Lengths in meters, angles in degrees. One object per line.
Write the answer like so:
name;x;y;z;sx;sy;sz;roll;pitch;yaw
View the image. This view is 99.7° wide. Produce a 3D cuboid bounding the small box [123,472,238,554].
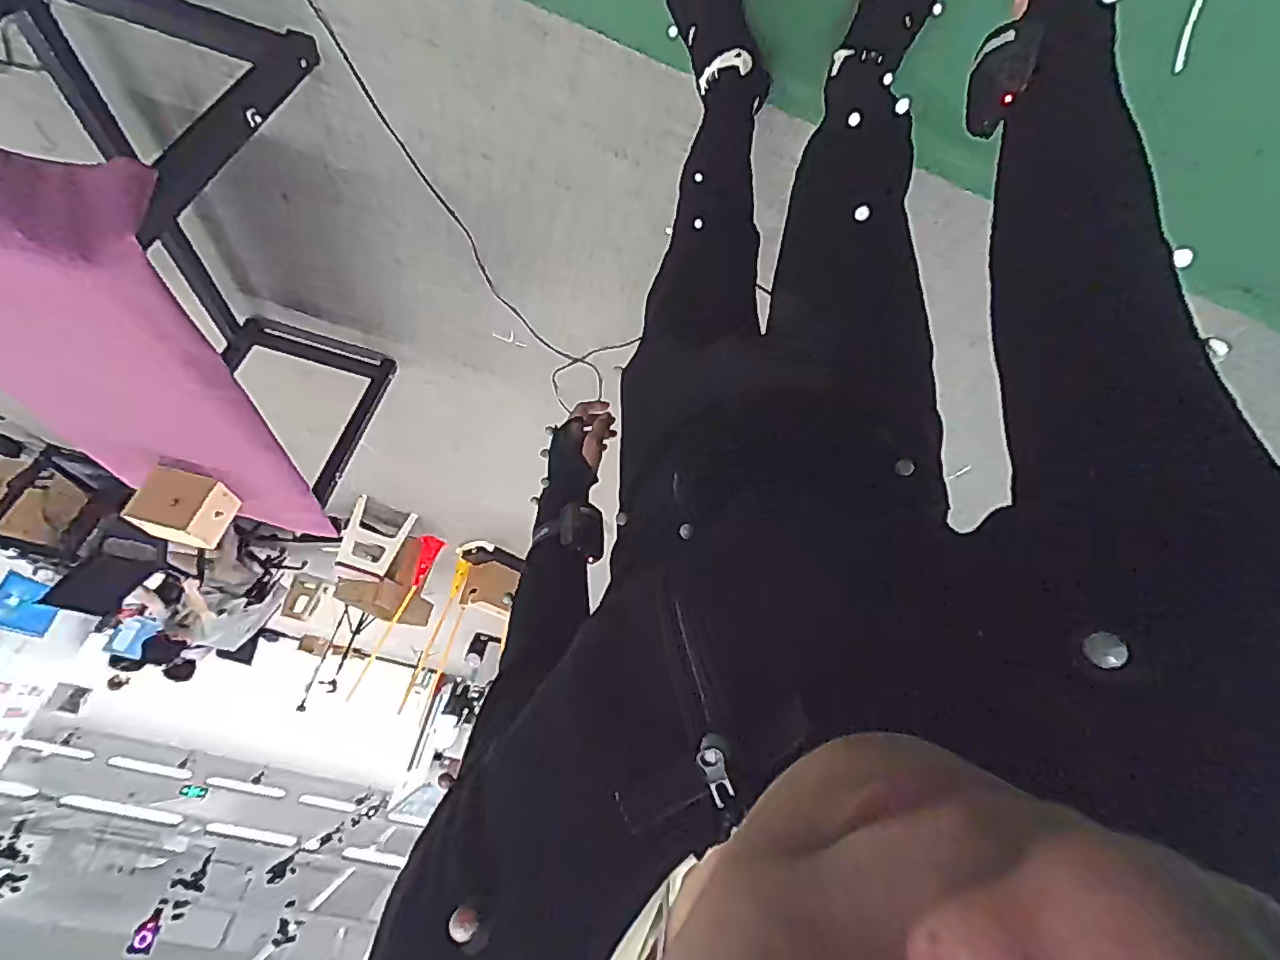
small box;-1.325;0.095;1.582;0.179;0.176;0.168;15;150;-6
